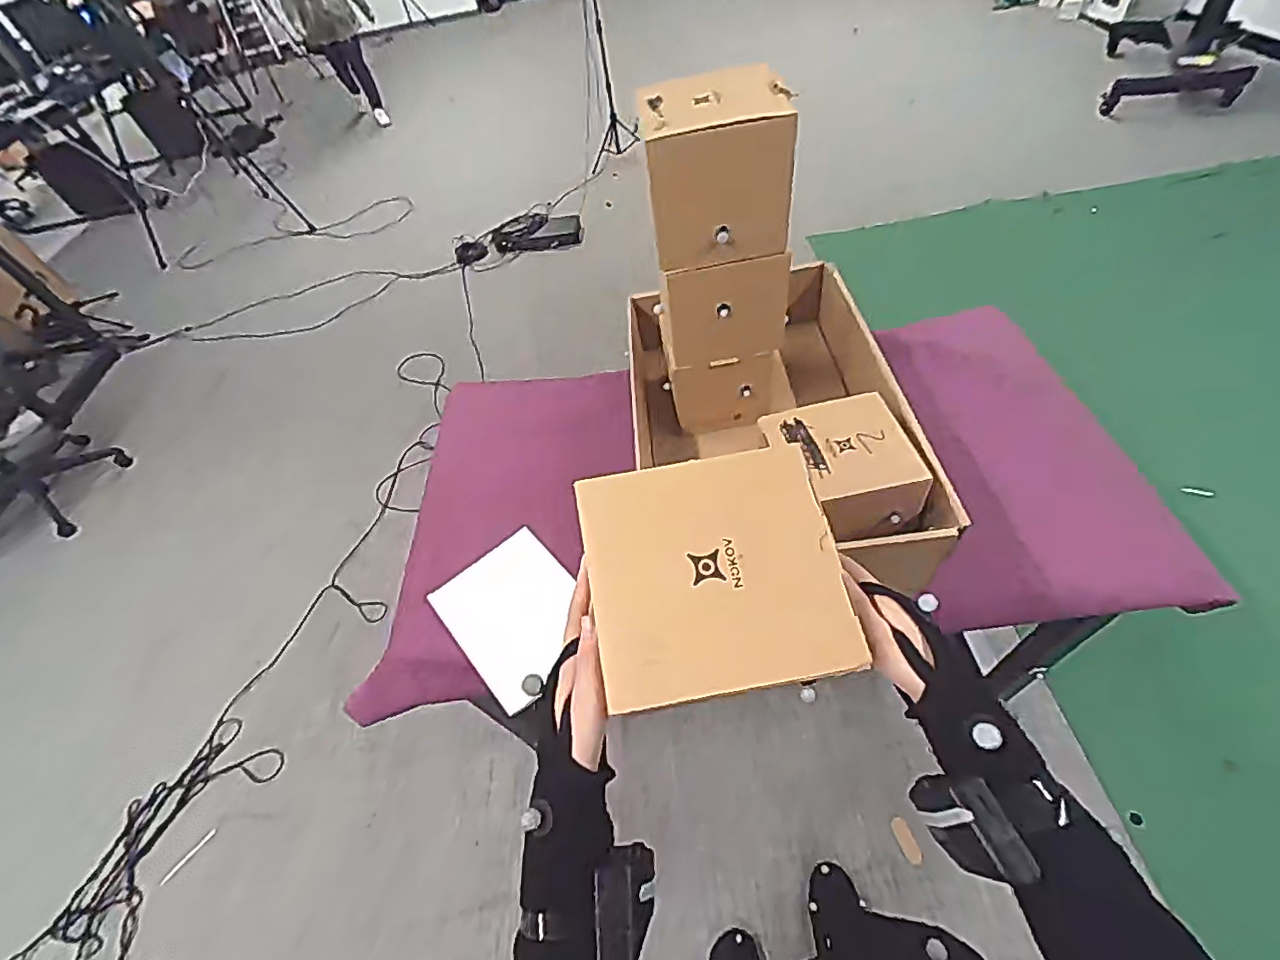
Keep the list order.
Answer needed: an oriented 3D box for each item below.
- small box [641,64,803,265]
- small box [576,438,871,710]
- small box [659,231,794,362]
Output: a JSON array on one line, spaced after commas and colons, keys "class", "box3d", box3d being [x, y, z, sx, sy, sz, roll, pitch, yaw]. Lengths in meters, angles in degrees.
[{"class": "small box", "box3d": [0.099, -0.409, 0.712, 0.179, 0.176, 0.168, -7, 52, 3]}, {"class": "small box", "box3d": [0.052, 0.087, 0.445, 0.179, 0.176, 0.168, -9, 66, -4]}, {"class": "small box", "box3d": [0.123, -0.308, 0.839, 0.179, 0.176, 0.168, -10, 52, 3]}]
